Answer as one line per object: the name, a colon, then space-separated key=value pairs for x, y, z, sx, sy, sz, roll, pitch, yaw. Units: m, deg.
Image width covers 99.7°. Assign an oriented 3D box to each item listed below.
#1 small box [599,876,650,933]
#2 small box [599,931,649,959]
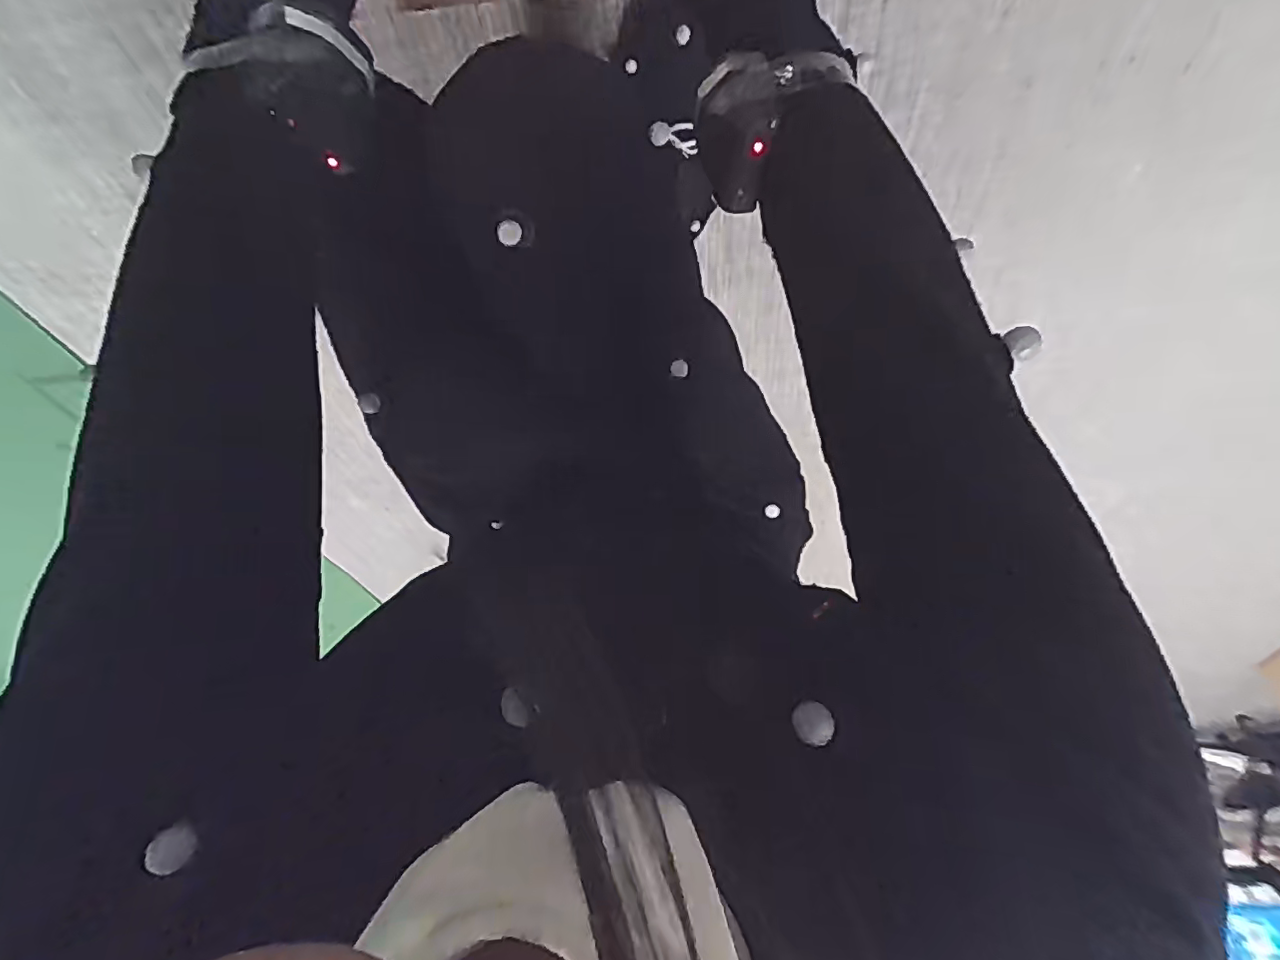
small box: x=-0.058 y=1.670 z=2.131 sx=0.179 sy=0.176 sz=0.168 roll=-6 pitch=145 yaw=6
small box: x=-0.060 y=1.802 z=2.033 sx=0.179 sy=0.176 sz=0.168 roll=-3 pitch=145 yaw=6
